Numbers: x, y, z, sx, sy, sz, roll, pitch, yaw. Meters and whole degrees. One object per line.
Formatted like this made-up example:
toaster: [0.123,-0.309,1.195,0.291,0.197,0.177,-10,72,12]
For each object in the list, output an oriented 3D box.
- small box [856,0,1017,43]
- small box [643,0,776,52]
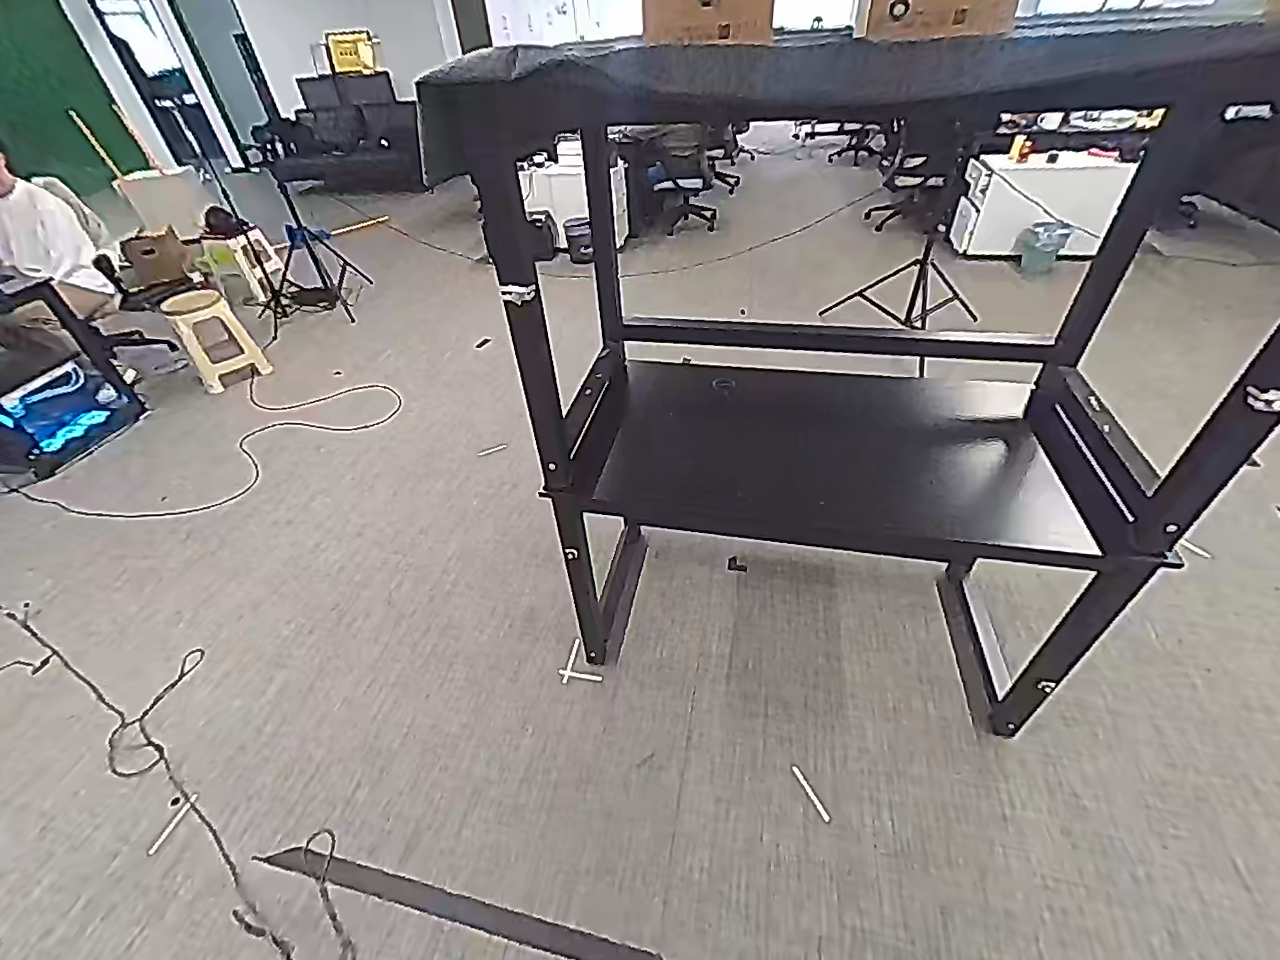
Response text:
small box: [0.372,-0.652,0.663,0.168,0.176,0.179,6,40,11]
small box: [0.090,-0.666,0.702,0.168,0.176,0.179,0,40,5]
